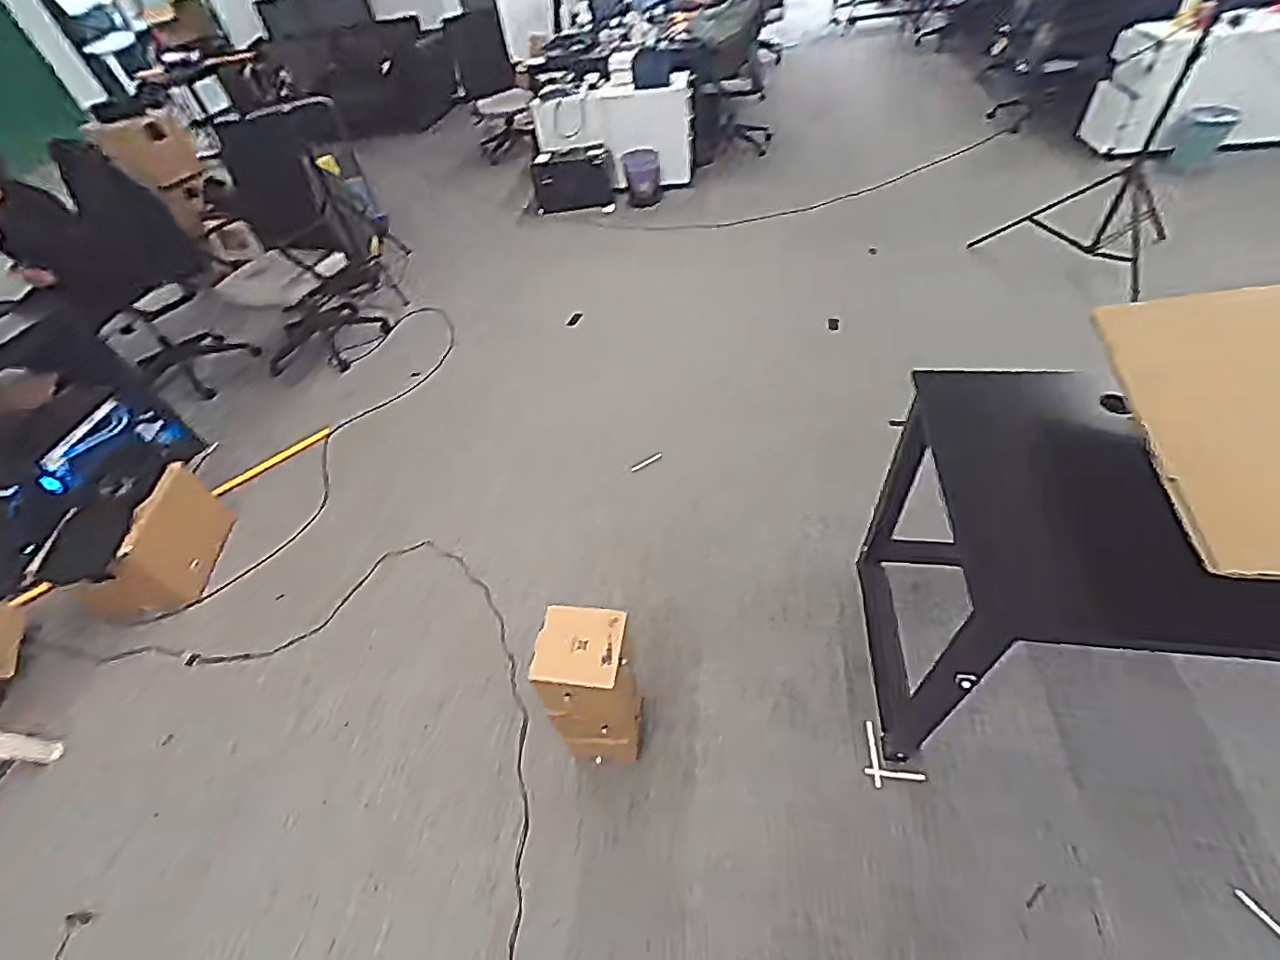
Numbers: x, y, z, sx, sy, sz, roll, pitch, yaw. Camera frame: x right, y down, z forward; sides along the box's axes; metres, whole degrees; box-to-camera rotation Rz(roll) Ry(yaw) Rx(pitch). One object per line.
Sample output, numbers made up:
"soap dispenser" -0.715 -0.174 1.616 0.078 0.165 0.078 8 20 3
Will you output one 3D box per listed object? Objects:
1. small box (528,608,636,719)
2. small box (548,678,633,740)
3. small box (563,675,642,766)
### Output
"small box" -0.114 0.393 1.155 0.179 0.176 0.168 2 48 11
"small box" -0.109 0.502 1.278 0.168 0.176 0.179 -3 46 5
"small box" -0.089 0.615 1.392 0.168 0.176 0.179 -1 49 8
